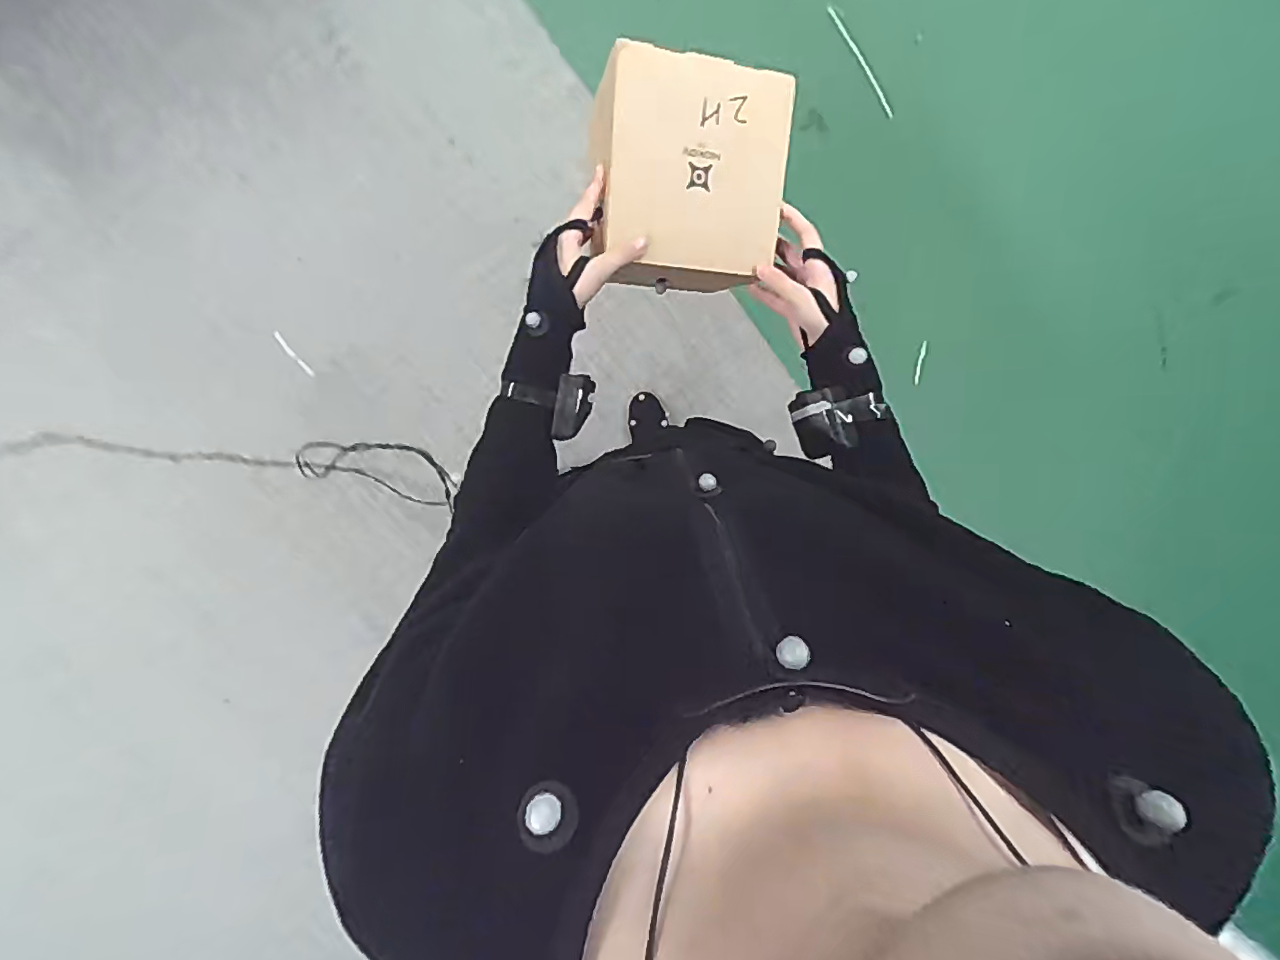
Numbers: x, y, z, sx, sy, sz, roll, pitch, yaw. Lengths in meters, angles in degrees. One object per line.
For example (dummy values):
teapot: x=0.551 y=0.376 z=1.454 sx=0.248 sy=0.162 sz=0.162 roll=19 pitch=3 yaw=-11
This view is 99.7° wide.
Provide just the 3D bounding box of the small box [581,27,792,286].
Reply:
small box: x=0.032 y=-0.302 z=0.552 sx=0.168 sy=0.176 sz=0.179 roll=1 pitch=102 yaw=-13
